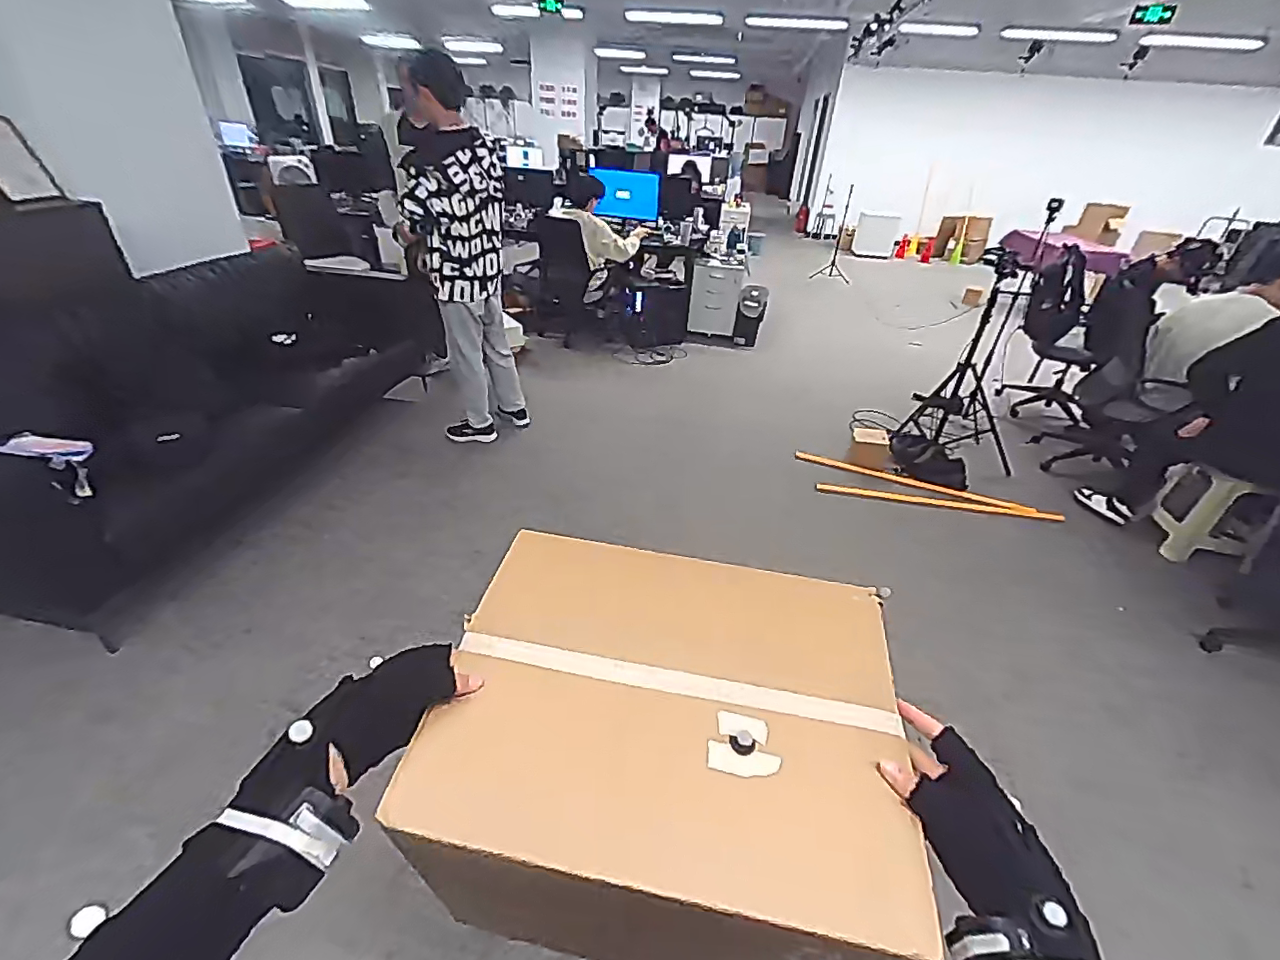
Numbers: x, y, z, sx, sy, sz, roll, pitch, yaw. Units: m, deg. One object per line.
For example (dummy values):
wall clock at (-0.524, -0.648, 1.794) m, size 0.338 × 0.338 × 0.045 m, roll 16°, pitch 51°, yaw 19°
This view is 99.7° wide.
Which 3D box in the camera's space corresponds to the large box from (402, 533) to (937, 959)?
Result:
large box at (0.028, 0.299, 0.597) m, size 0.408 × 0.320 × 0.320 m, roll 9°, pitch 41°, yaw 6°
